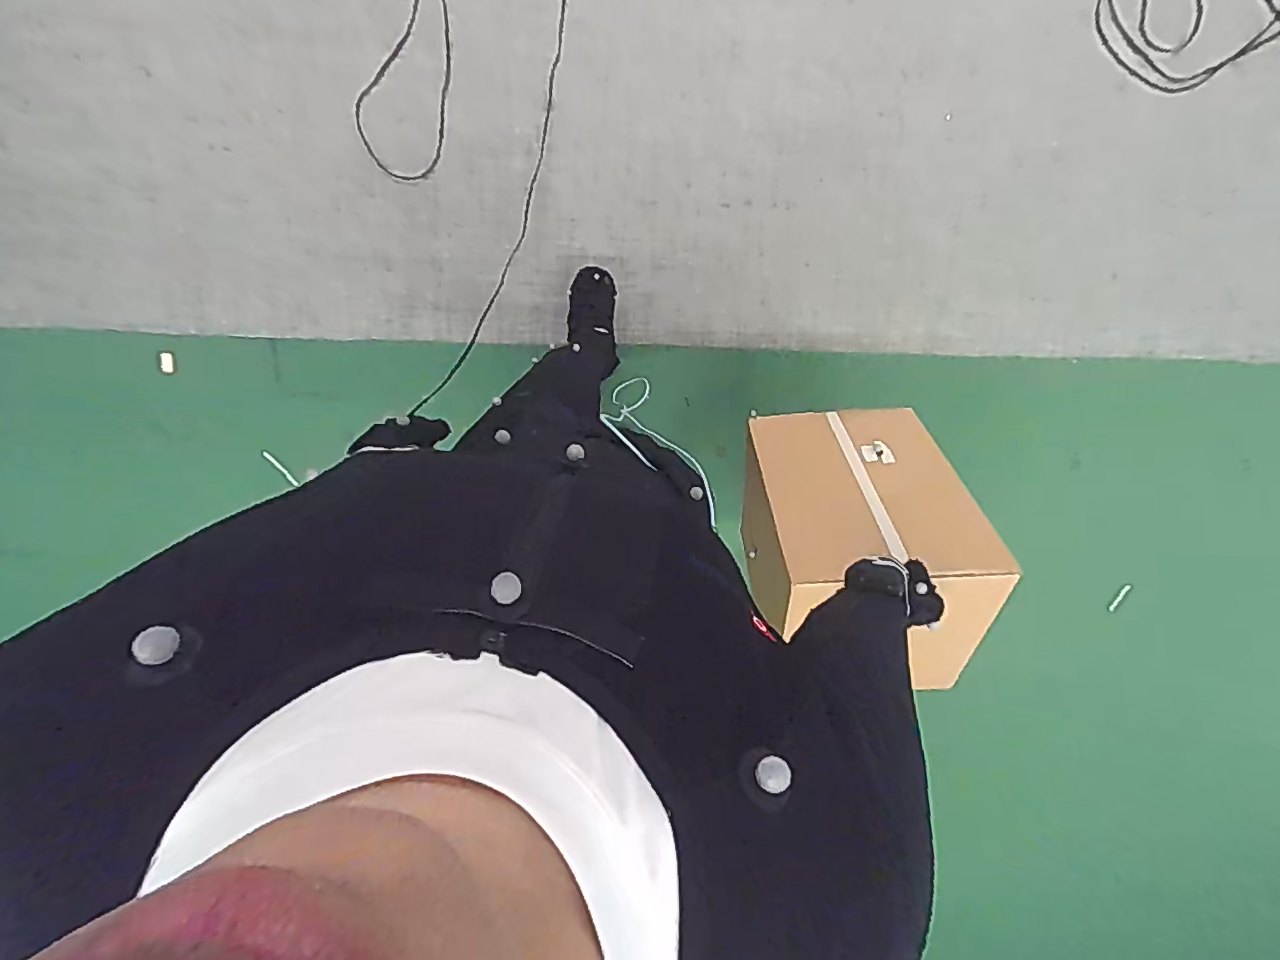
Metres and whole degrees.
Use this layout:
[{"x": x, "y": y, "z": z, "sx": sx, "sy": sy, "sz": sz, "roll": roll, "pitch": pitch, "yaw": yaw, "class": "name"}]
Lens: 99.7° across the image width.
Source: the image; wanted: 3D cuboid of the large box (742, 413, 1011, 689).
[{"x": 0.376, "y": 0.121, "z": 1.001, "sx": 0.320, "sy": 0.408, "sz": 0.320, "roll": -2, "pitch": 130, "yaw": 2, "class": "large box"}]
